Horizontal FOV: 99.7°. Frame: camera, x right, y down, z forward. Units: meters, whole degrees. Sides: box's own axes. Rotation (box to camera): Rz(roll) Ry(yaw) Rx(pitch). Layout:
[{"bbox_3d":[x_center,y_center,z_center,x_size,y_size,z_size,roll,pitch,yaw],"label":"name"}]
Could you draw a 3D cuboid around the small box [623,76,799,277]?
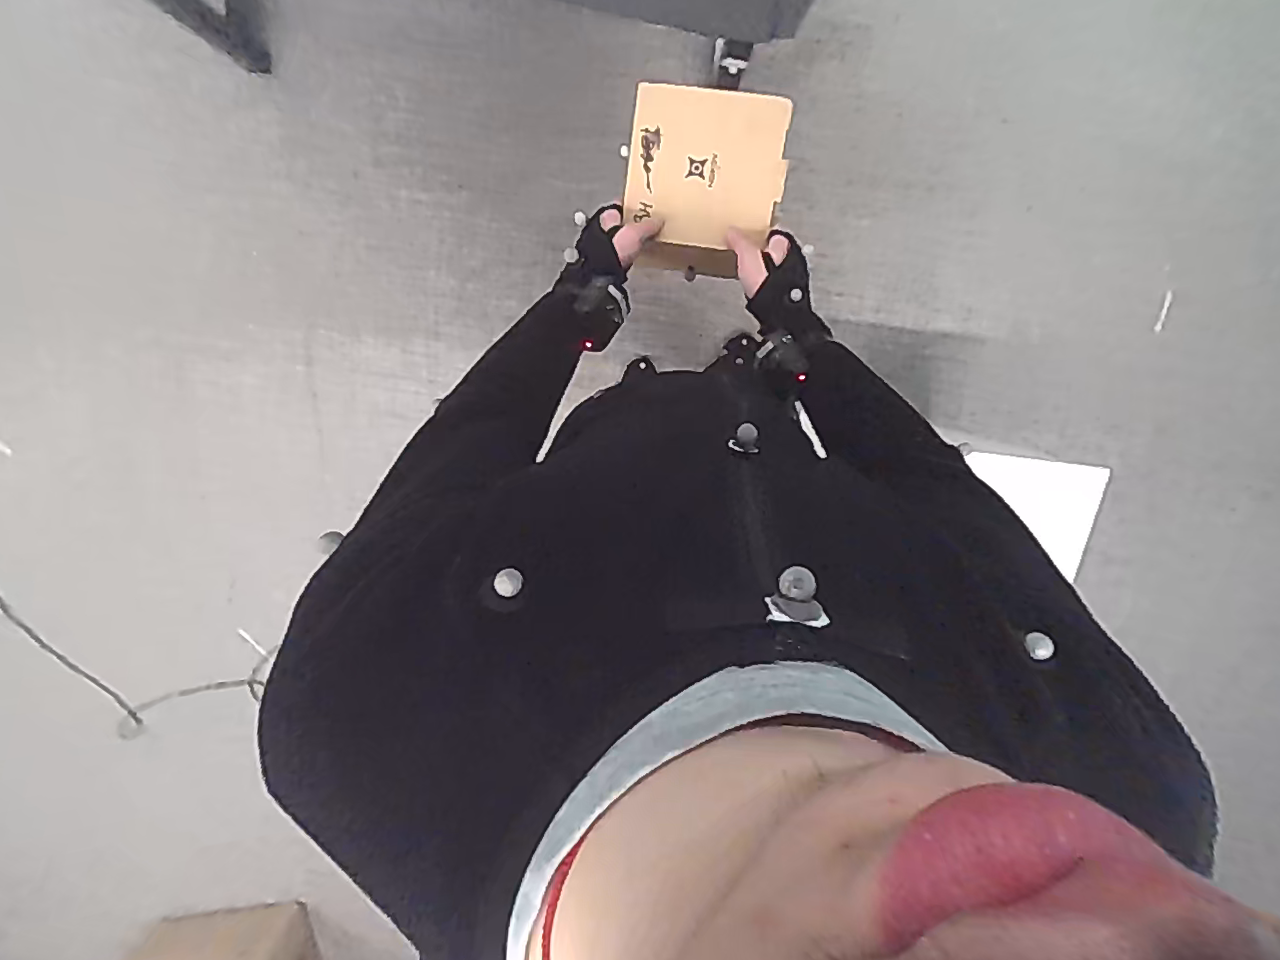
[{"bbox_3d":[0.076,-0.358,0.672,0.179,0.176,0.168,7,100,0],"label":"small box"}]
